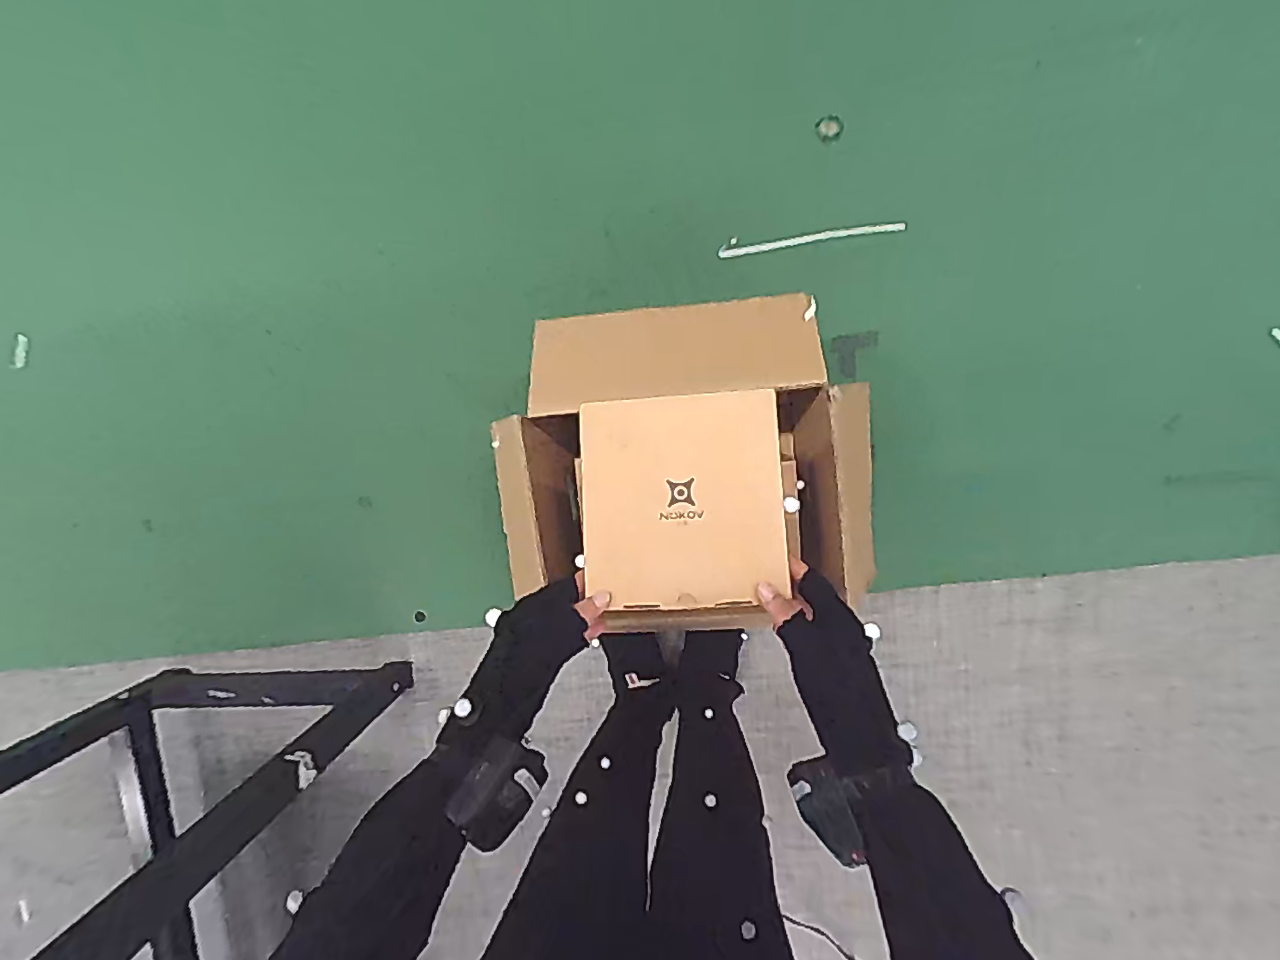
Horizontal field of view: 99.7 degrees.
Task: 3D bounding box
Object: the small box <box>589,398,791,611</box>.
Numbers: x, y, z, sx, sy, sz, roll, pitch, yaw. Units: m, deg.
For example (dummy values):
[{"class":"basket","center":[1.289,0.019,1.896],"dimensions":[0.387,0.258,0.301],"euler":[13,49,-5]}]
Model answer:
[{"class":"small box","center":[0.047,0.030,0.532],"dimensions":[0.168,0.176,0.179],"euler":[-4,83,6]}]
